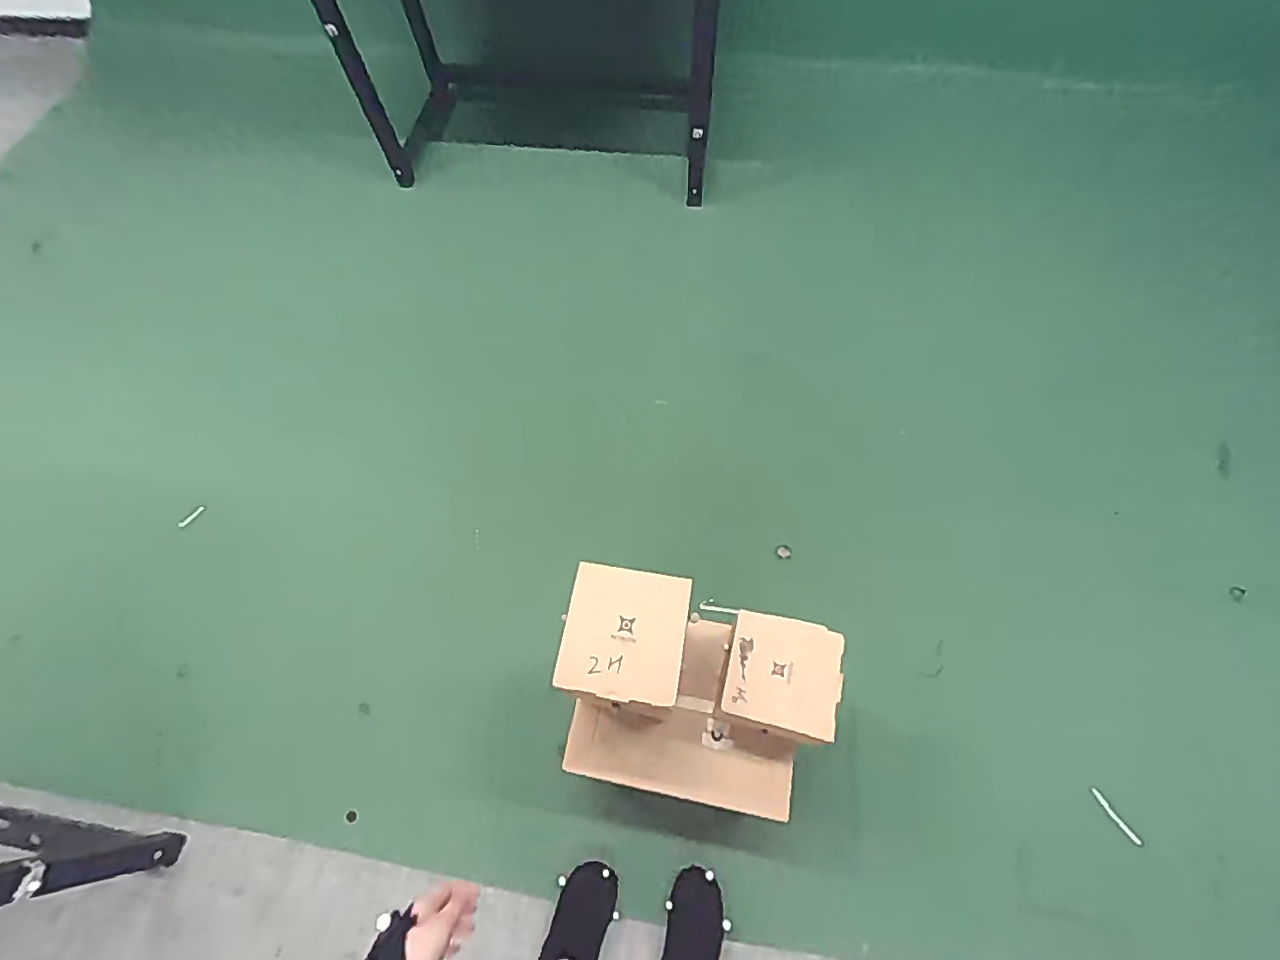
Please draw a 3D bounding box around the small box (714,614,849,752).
[{"bbox_3d":[0.232,0.345,0.912,0.179,0.176,0.168,13,64,10],"label":"small box"}]

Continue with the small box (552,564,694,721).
[{"bbox_3d":[-0.017,0.243,0.795,0.168,0.176,0.179,8,64,7],"label":"small box"}]

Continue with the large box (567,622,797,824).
[{"bbox_3d":[0.093,0.484,1.125,0.408,0.320,0.320,9,65,6],"label":"large box"}]
